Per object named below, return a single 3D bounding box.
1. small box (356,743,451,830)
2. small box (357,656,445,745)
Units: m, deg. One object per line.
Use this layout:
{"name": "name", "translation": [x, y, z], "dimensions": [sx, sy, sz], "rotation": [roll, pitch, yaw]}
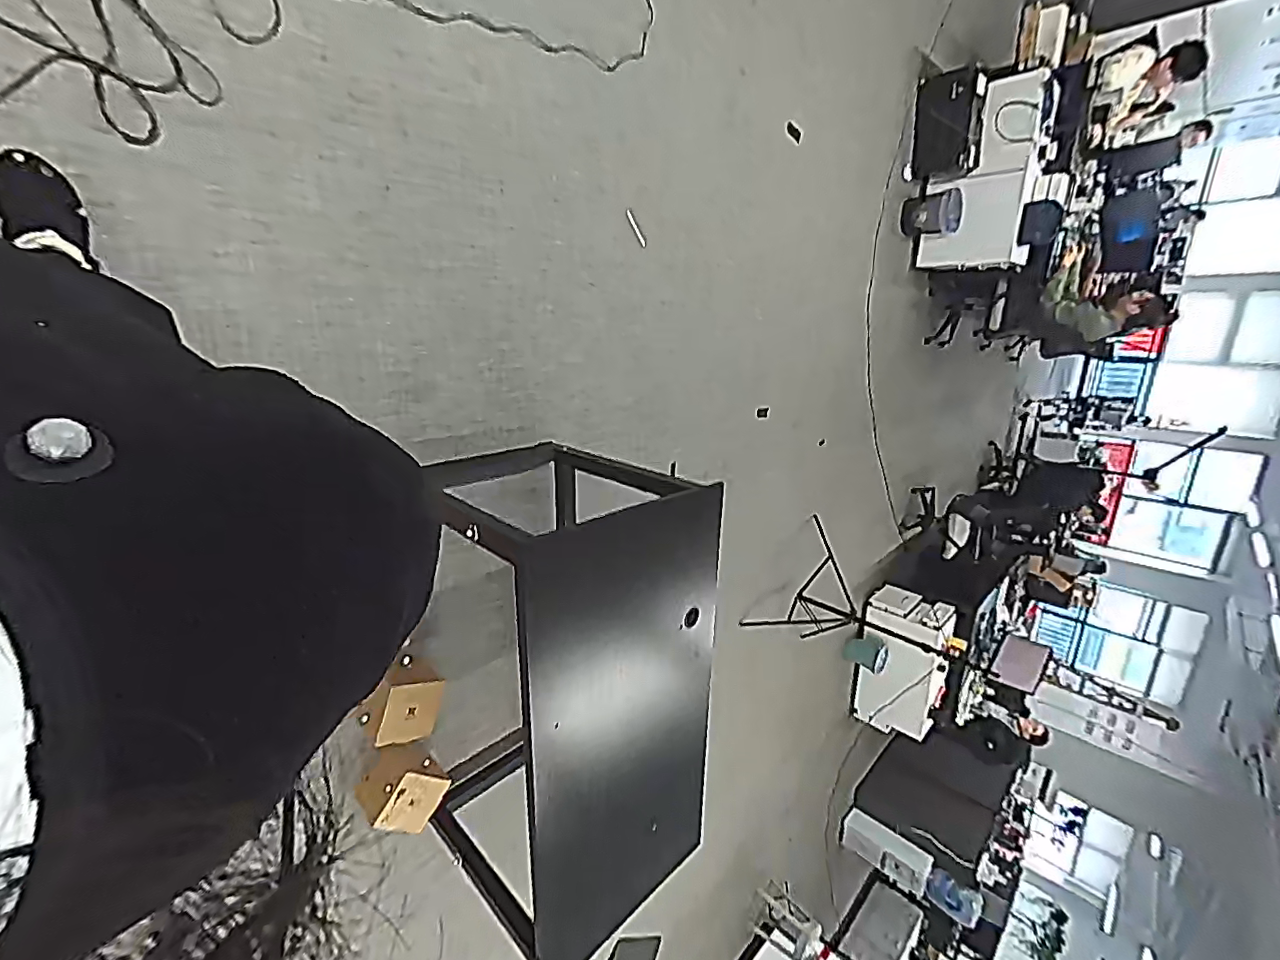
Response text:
{"name": "small box", "translation": [-0.723, 0.932, 1.652], "dimensions": [0.179, 0.176, 0.168], "rotation": [46, 68, -43]}
{"name": "small box", "translation": [-0.705, 0.638, 1.584], "dimensions": [0.168, 0.176, 0.179], "rotation": [14, 91, -48]}
